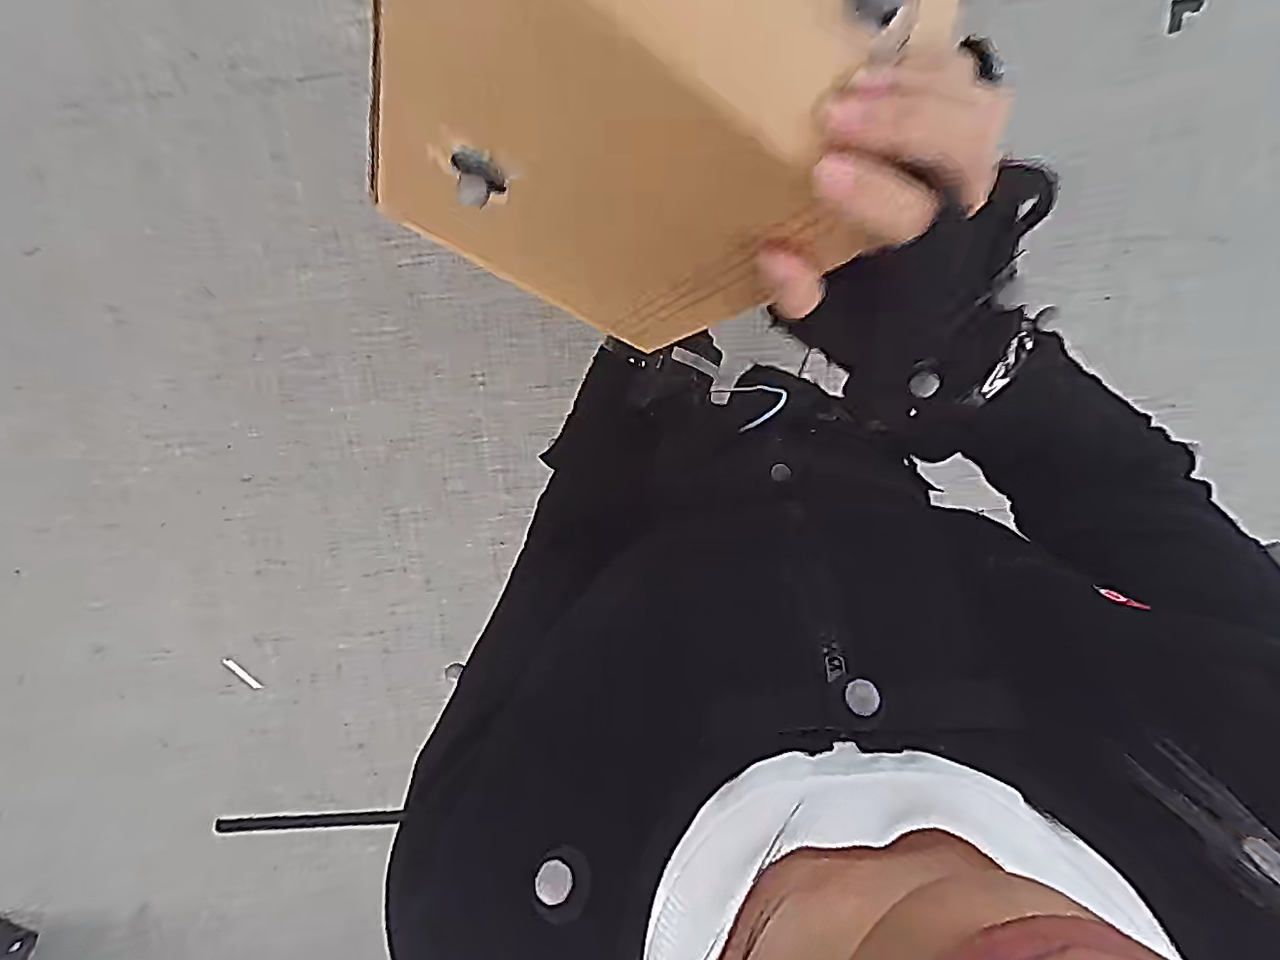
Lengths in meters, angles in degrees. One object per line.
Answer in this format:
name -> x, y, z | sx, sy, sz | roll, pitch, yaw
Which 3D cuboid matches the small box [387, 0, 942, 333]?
small box -> 0.004, -0.190, 0.248 | 0.176, 0.179, 0.168 | 21, 79, -27
